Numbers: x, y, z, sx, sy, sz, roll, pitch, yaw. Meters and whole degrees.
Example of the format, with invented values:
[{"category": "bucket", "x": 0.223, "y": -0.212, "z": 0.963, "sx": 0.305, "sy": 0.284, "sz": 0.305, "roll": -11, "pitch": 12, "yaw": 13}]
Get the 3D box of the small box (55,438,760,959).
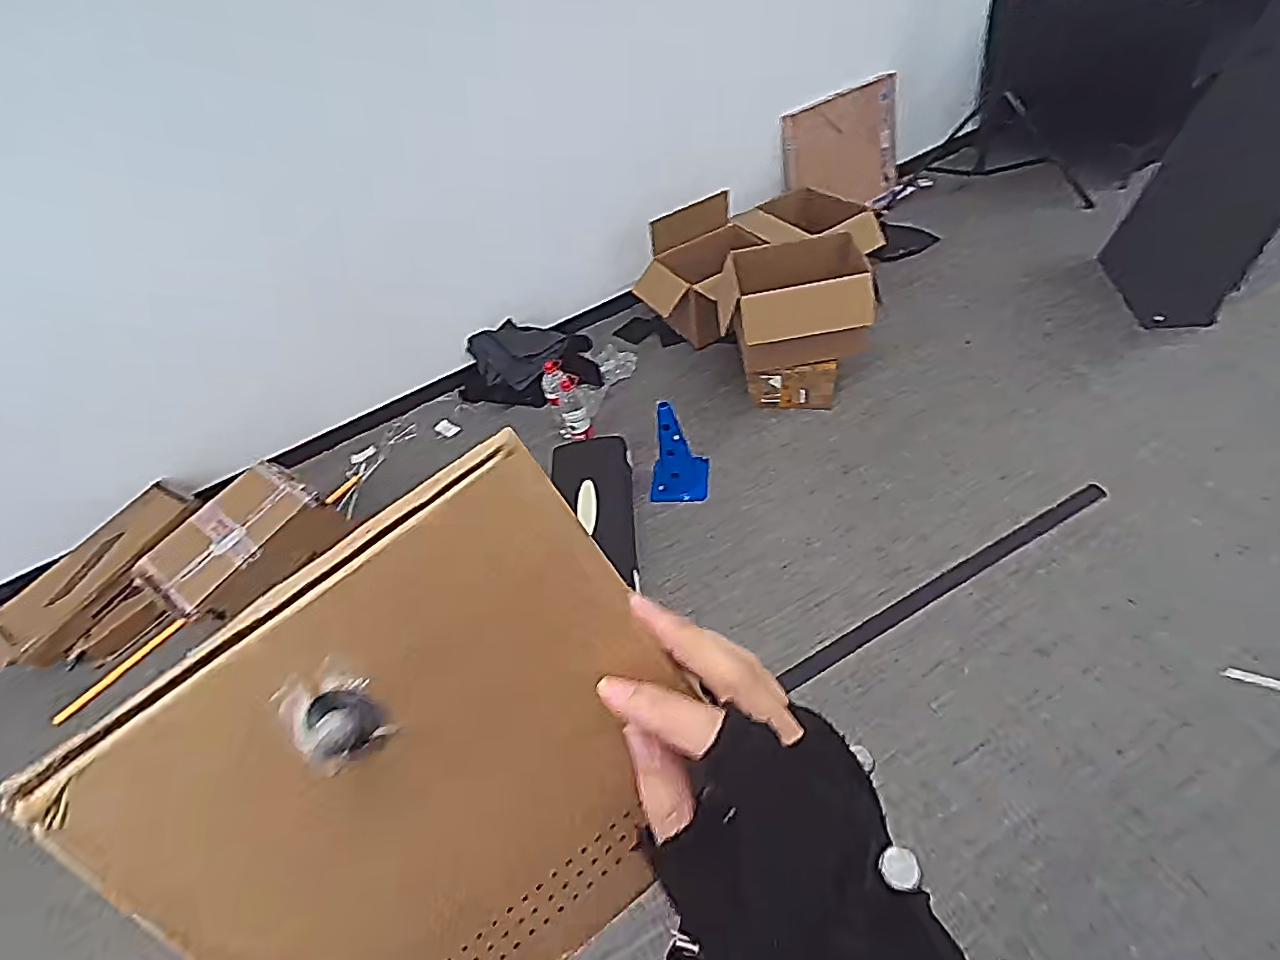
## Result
[{"category": "small box", "x": -0.077, "y": 0.098, "z": 0.261, "sx": 0.179, "sy": 0.176, "sz": 0.168, "roll": -35, "pitch": 13, "yaw": -8}]
